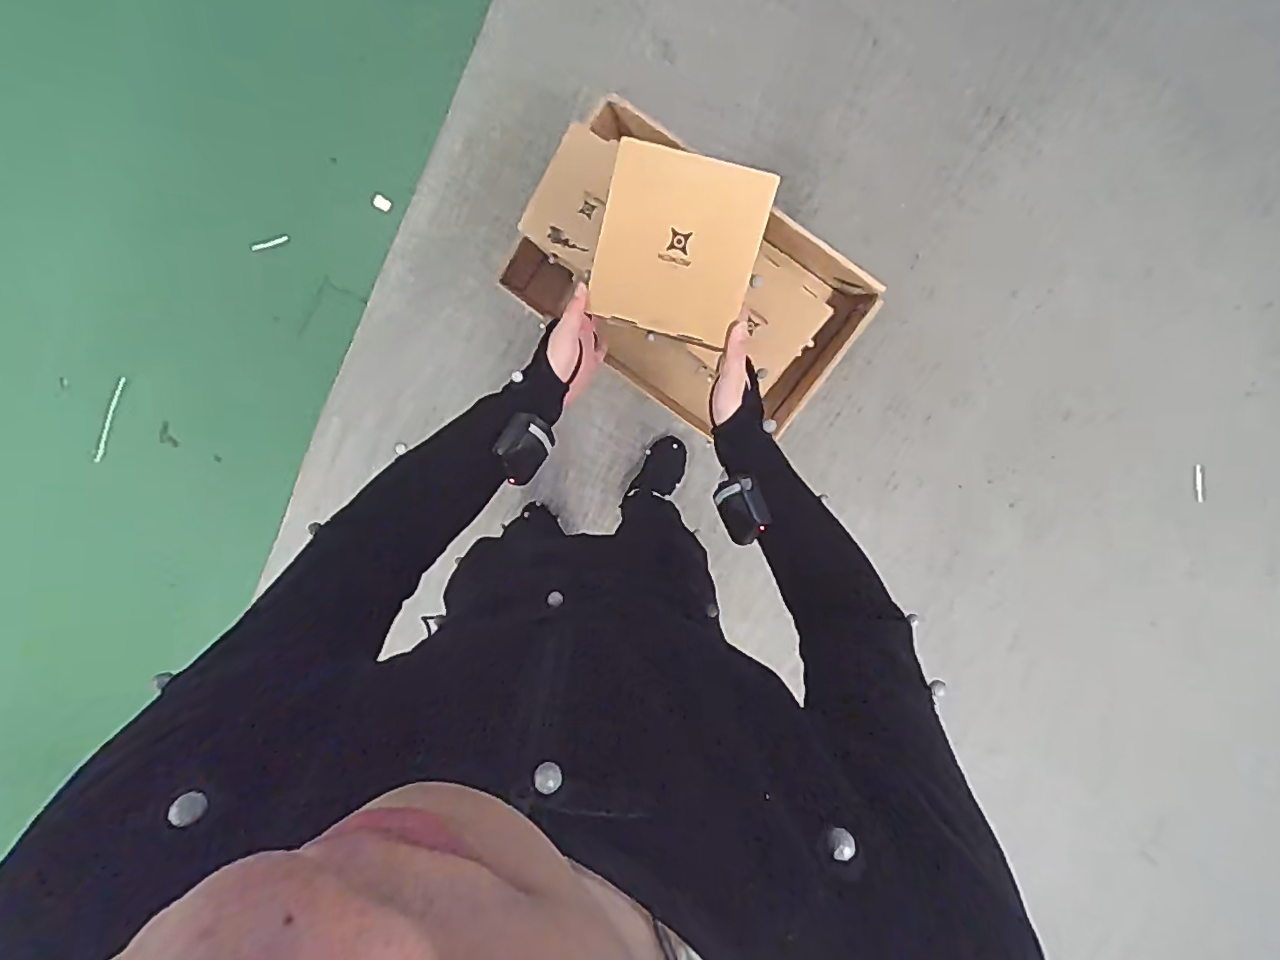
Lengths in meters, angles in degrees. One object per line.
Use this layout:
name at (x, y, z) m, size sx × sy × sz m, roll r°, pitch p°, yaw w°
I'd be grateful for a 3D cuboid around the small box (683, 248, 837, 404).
small box at (0.178, -0.242, 0.870) m, size 0.168 × 0.176 × 0.179 m, roll 39°, pitch 101°, yaw -1°

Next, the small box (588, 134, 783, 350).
small box at (0.047, -0.258, 0.628) m, size 0.168 × 0.176 × 0.179 m, roll 15°, pitch 106°, yaw 0°

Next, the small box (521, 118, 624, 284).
small box at (-0.057, -0.415, 0.863) m, size 0.168 × 0.176 × 0.179 m, roll 34°, pitch 101°, yaw 1°
